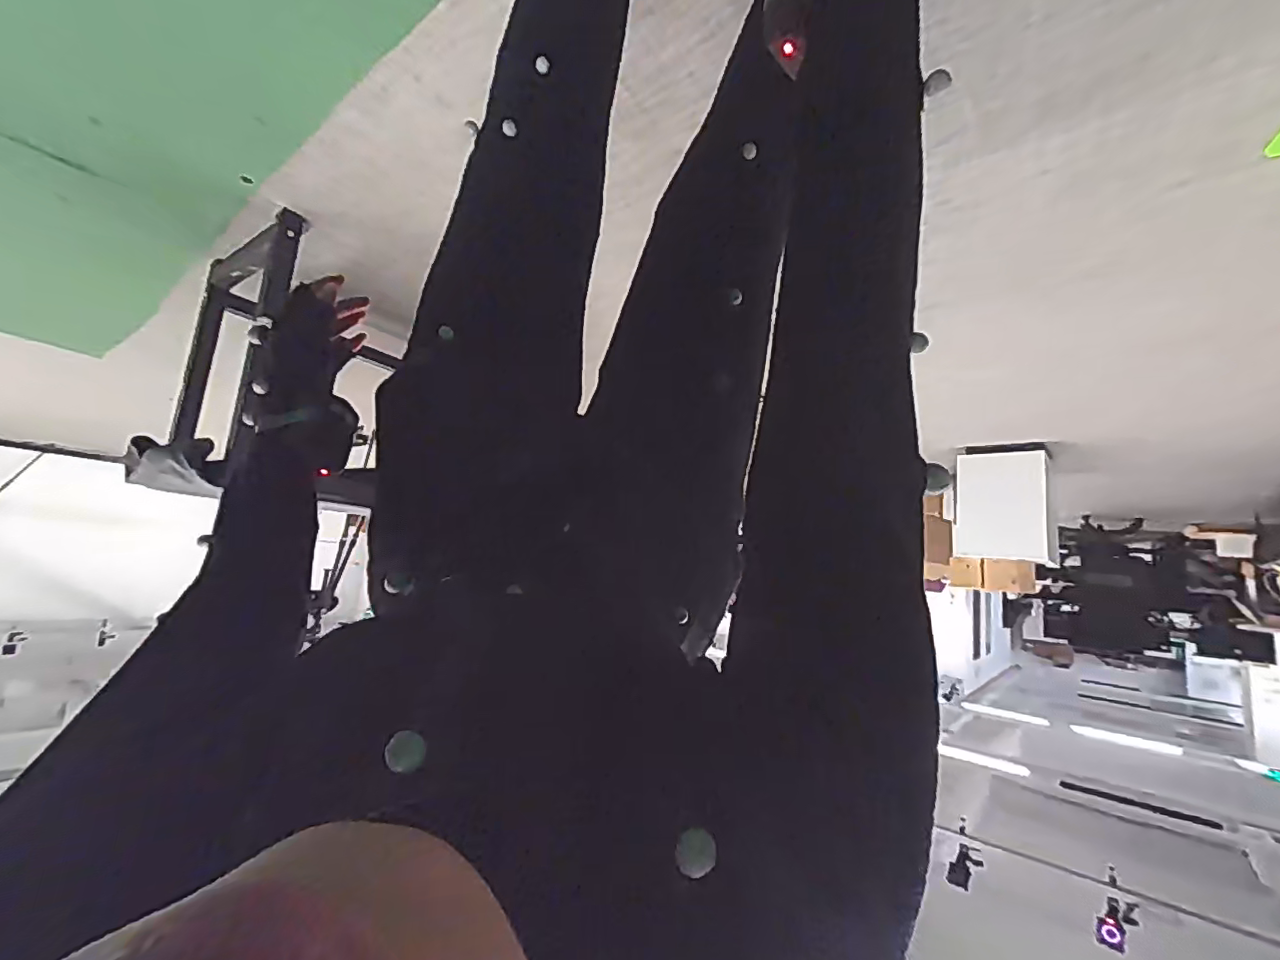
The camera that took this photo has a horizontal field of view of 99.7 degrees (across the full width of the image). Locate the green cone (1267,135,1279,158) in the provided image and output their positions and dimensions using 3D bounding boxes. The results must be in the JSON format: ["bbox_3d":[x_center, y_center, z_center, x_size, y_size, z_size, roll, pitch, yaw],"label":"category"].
[{"bbox_3d":[1.122,-0.416,0.795,0.200,0.368,0.202,1,170,27],"label":"green cone"}]
